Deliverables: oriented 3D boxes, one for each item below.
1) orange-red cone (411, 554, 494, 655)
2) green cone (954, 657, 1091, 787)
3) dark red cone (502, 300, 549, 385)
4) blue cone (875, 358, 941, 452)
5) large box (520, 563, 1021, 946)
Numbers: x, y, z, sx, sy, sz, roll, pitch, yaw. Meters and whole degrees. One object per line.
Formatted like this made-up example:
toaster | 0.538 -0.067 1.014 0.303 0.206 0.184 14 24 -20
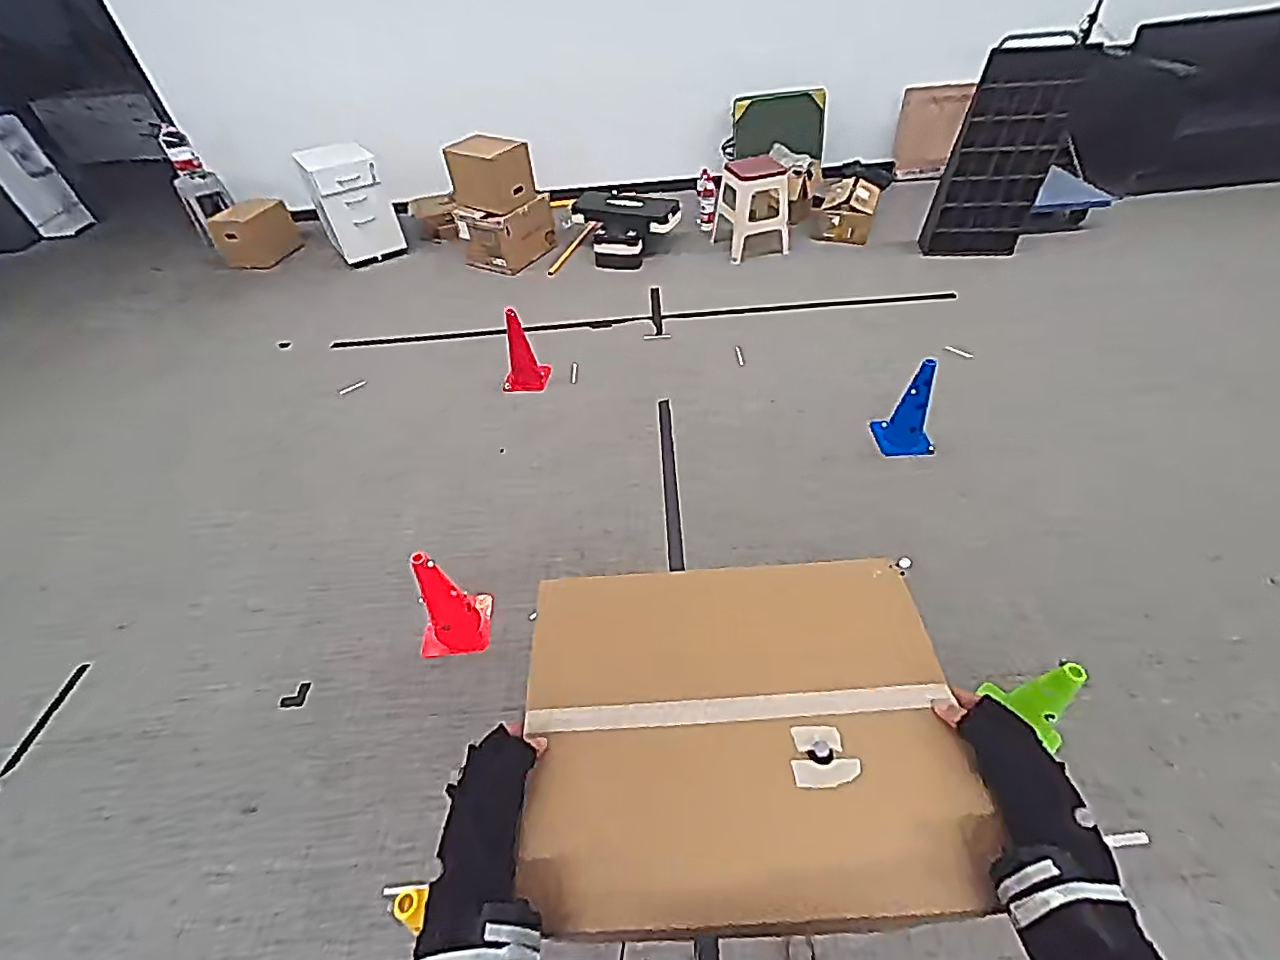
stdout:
orange-red cone | -0.573 0.332 1.562 0.198 0.360 0.199 -6 47 0
green cone | 0.920 0.514 1.244 0.202 0.368 0.200 -32 52 -25
dark red cone | -0.547 -0.623 2.444 0.201 0.394 0.202 1 46 5
blue cone | 1.037 -0.290 2.031 0.192 0.380 0.193 -1 46 3
large box | 0.101 0.322 0.630 0.408 0.320 0.320 -4 48 1
